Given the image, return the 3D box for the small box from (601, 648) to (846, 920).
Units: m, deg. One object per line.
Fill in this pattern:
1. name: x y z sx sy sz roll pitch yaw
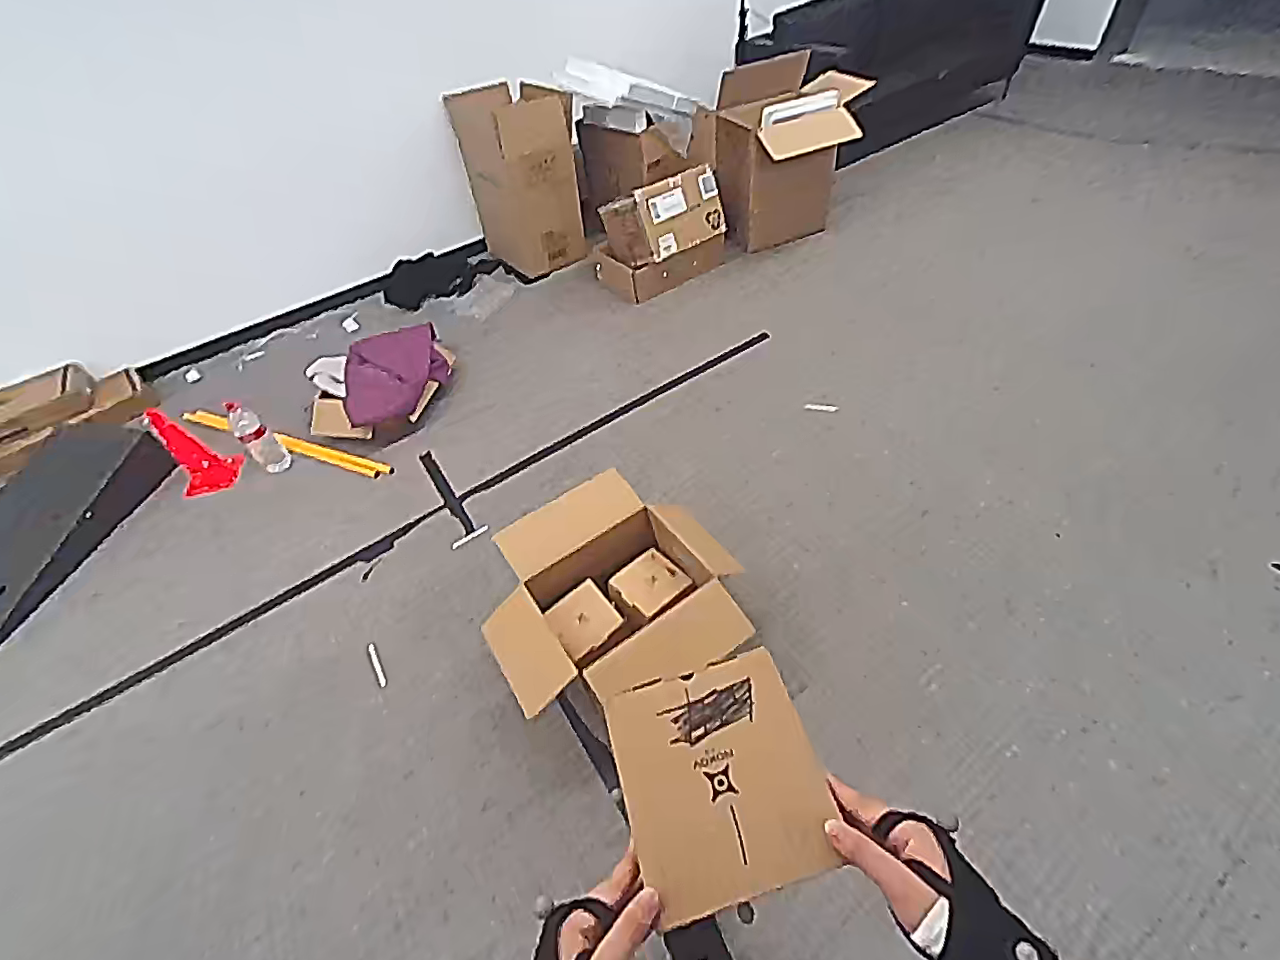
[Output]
1. small box: 0.067 0.295 0.526 0.168 0.176 0.179 -15 53 -6
